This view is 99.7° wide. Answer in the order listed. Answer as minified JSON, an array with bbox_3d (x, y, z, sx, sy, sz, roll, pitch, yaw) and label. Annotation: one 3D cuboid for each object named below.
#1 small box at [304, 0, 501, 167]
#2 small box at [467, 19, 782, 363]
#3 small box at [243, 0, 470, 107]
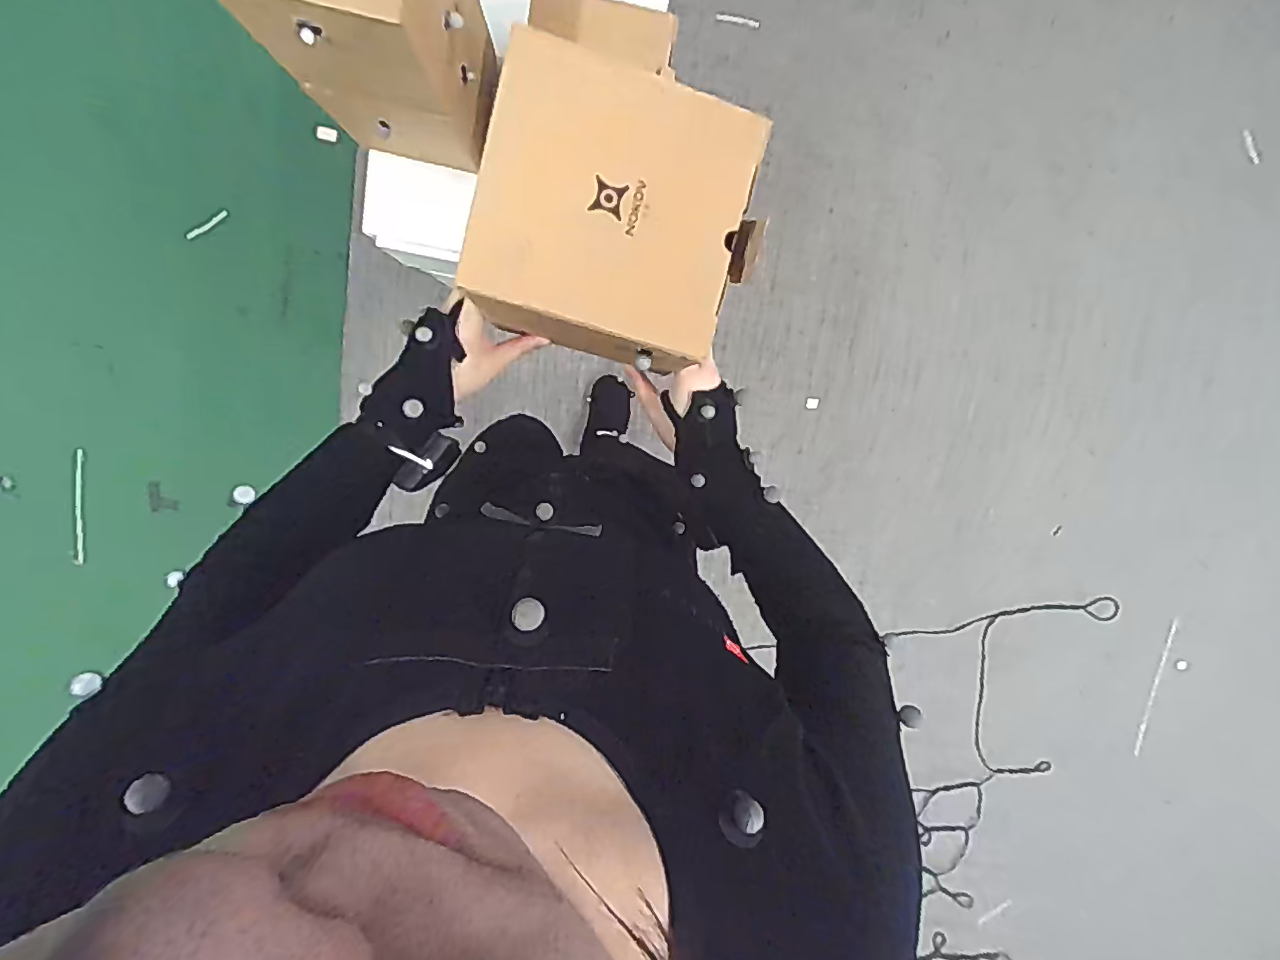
[{"bbox_3d":[-0.292,-0.535,0.697,0.179,0.176,0.168,10,100,-6],"label":"small box"},{"bbox_3d":[-0.019,-0.196,0.430,0.179,0.176,0.168,14,96,-10],"label":"small box"},{"bbox_3d":[-0.281,-0.510,0.534,0.179,0.176,0.168,10,99,-7],"label":"small box"}]
